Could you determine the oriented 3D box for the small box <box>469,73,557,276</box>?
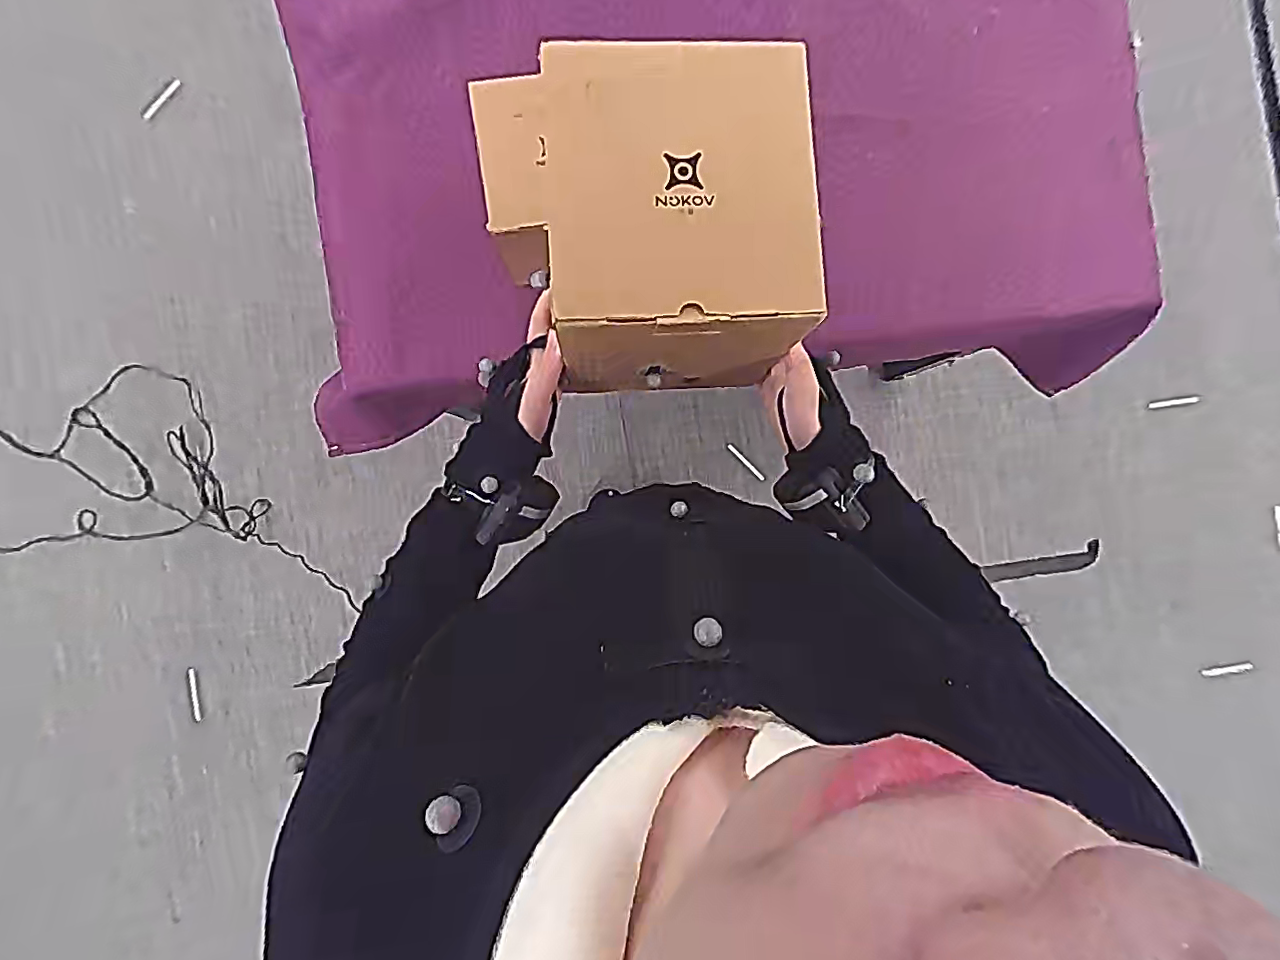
[{"bbox_3d":[-0.107,-0.377,0.697,0.168,0.176,0.179,-8,90,-3],"label":"small box"}]

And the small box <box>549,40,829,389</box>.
[{"bbox_3d":[0.022,-0.175,0.405,0.168,0.176,0.179,-3,87,-4],"label":"small box"}]
